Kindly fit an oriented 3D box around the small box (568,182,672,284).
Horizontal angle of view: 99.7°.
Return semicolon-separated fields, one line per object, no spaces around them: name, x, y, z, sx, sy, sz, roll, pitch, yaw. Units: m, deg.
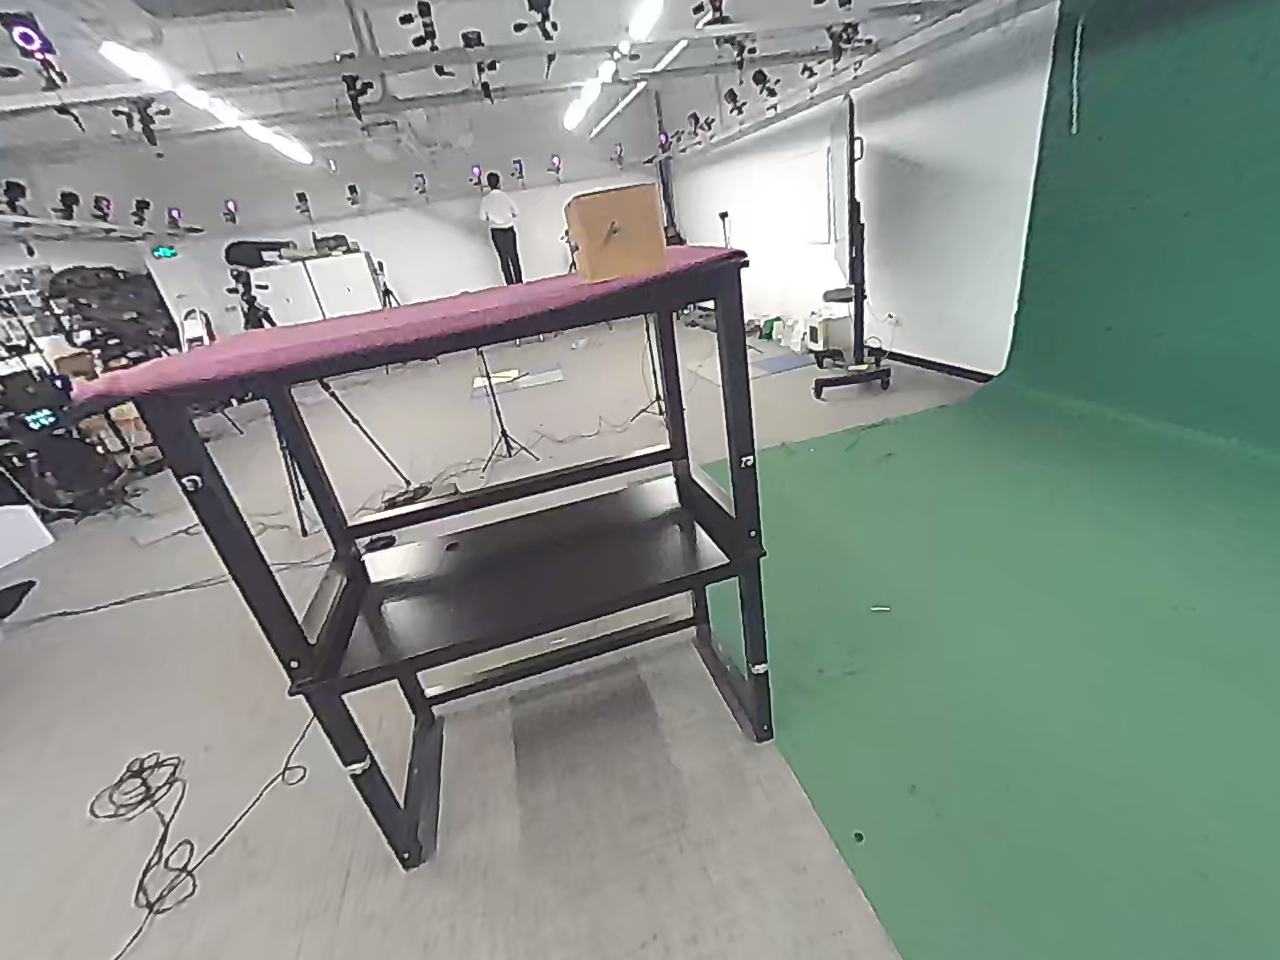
small box;-0.046;-0.529;1.180;0.179;0.176;0.168;-16;23;-9
